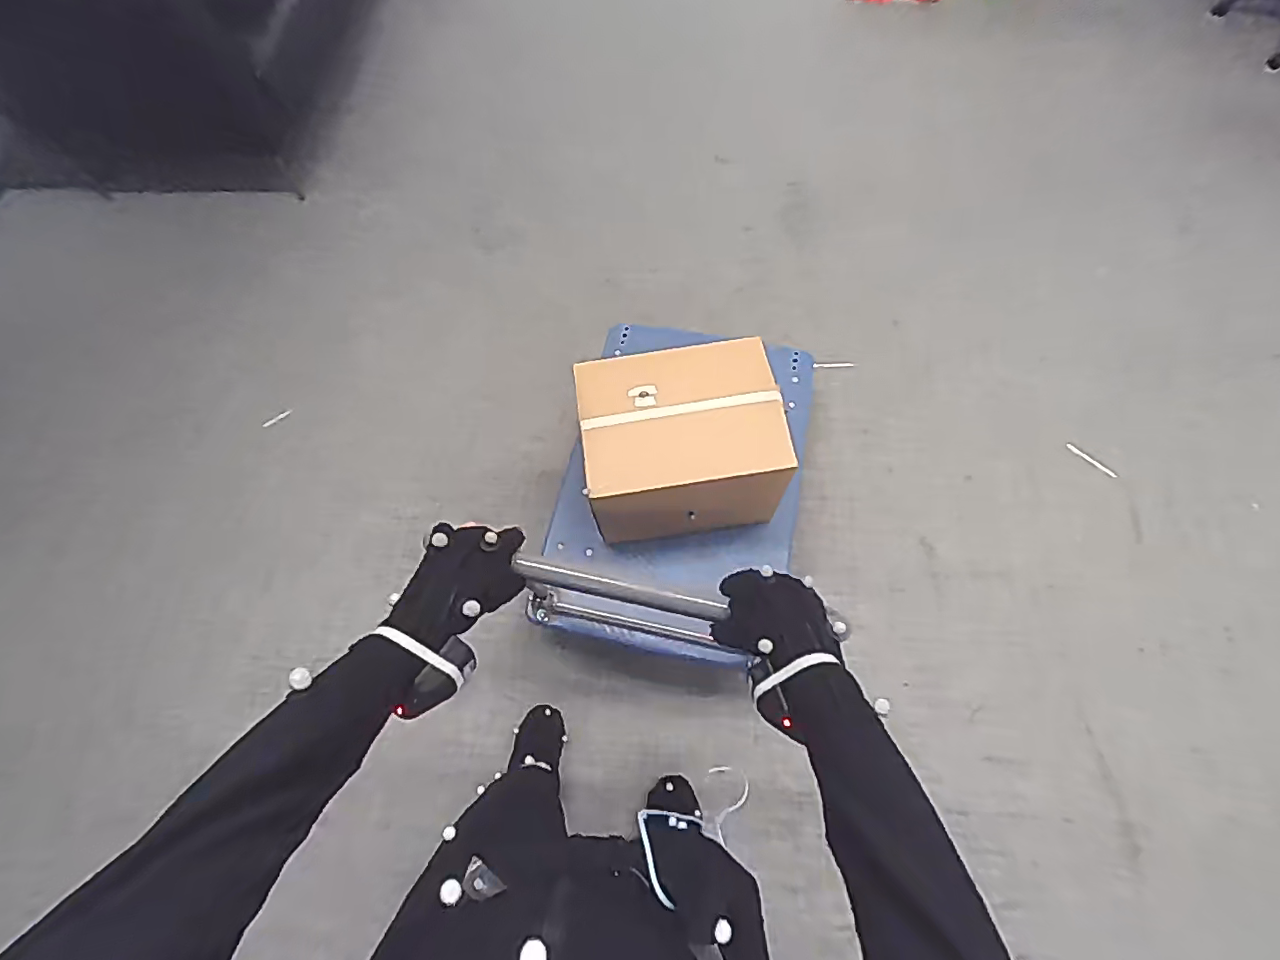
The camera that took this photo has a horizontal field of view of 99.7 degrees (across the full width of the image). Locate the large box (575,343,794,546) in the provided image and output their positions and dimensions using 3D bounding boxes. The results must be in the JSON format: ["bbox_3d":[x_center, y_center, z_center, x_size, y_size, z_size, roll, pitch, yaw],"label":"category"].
[{"bbox_3d":[0.090,-0.065,1.231,0.408,0.320,0.320,-10,65,0],"label":"large box"}]
